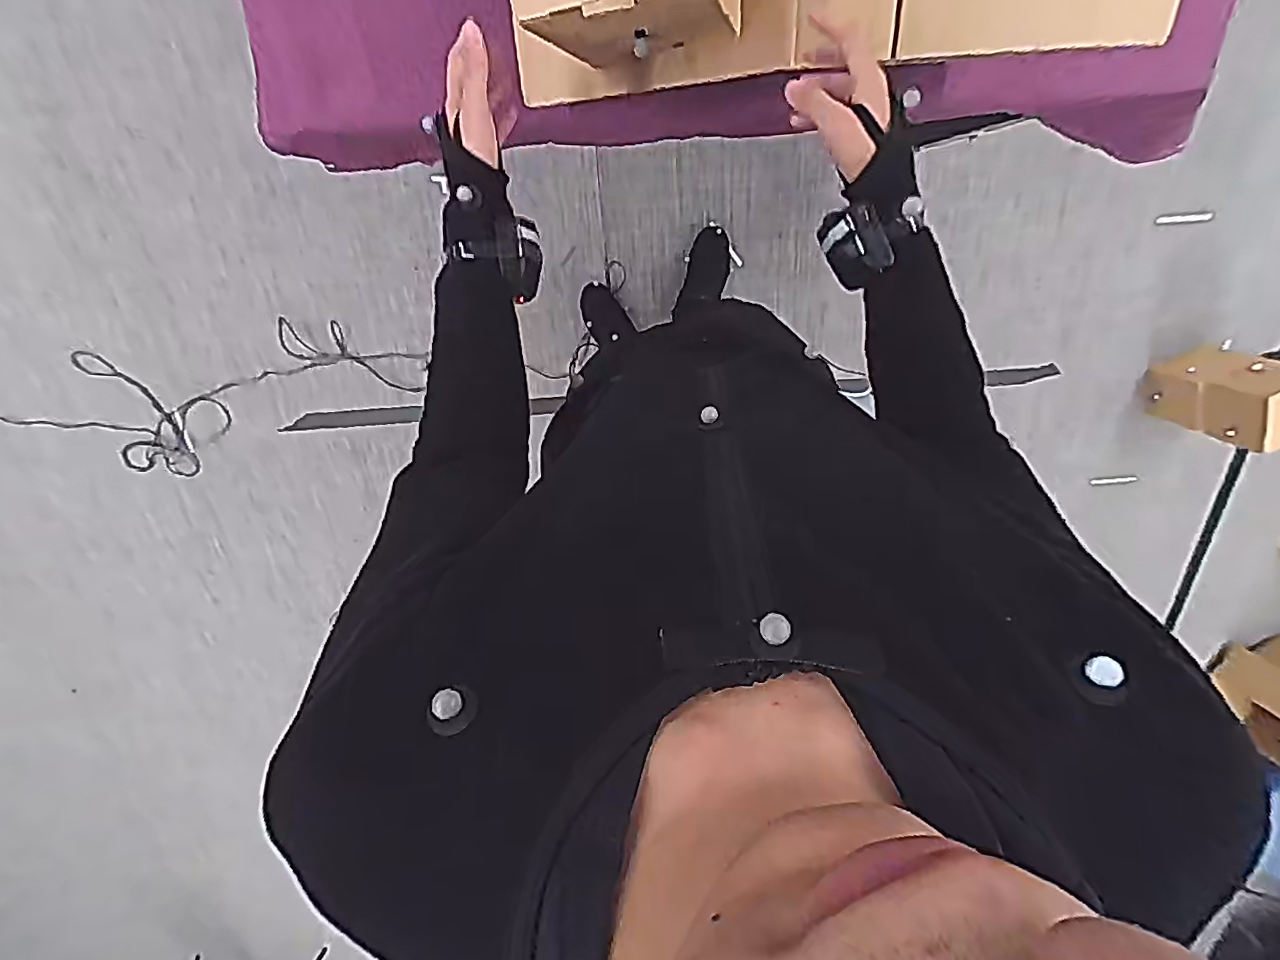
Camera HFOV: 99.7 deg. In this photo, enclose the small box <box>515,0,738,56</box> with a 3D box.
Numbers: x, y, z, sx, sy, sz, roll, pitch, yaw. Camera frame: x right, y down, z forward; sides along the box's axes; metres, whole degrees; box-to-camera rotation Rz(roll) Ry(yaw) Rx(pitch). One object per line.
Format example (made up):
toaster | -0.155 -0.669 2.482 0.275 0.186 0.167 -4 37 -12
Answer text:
small box | -0.009 -0.493 0.465 0.168 0.176 0.179 4 117 18
